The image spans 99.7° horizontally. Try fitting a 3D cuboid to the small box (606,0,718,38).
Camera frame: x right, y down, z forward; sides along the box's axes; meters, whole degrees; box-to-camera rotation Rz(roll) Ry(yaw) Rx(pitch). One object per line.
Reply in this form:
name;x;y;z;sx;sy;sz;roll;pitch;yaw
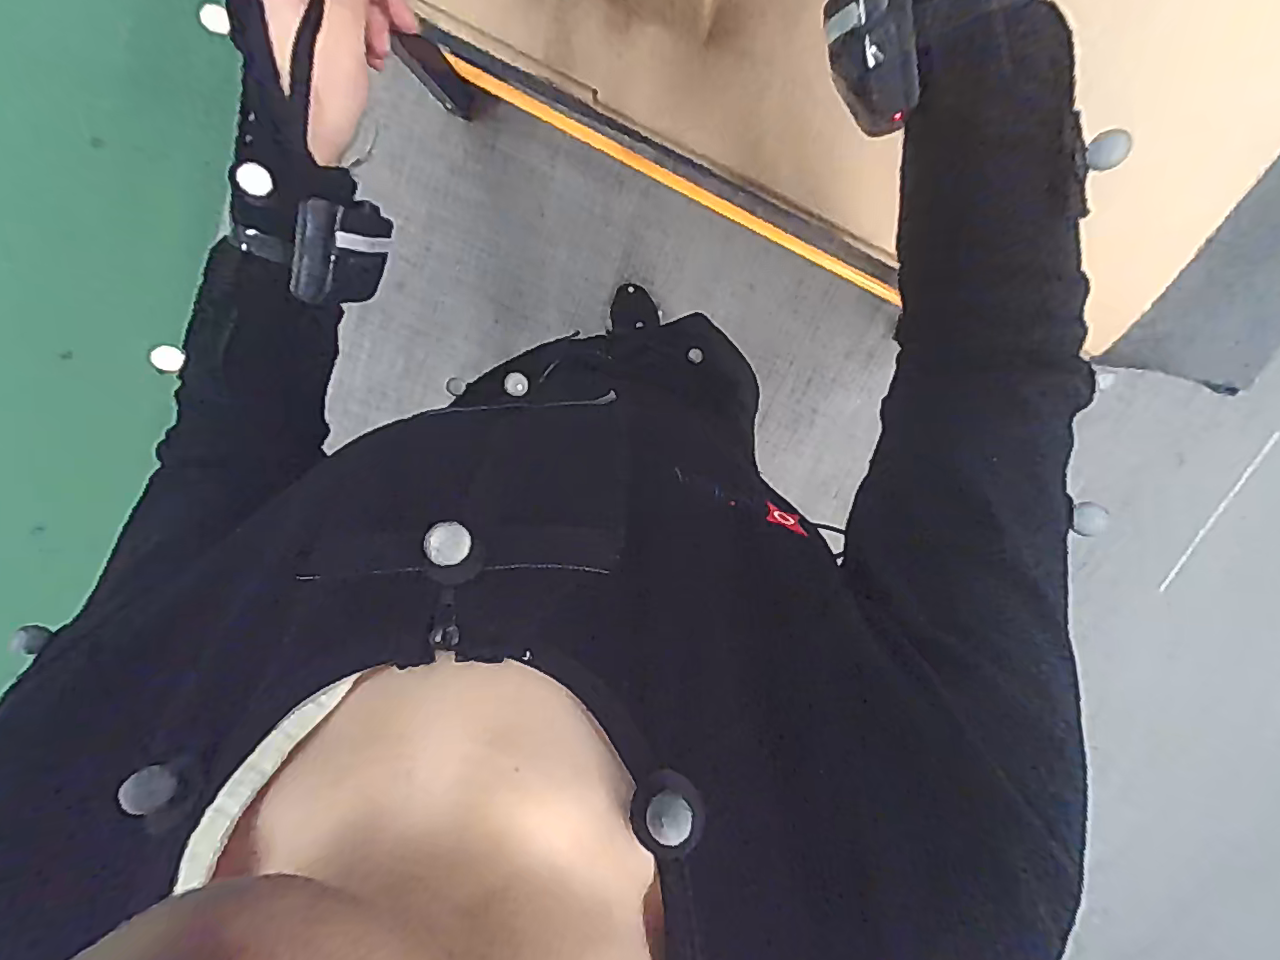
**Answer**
small box;-0.004;-0.373;0.262;0.168;0.176;0.179;23;113;-5
